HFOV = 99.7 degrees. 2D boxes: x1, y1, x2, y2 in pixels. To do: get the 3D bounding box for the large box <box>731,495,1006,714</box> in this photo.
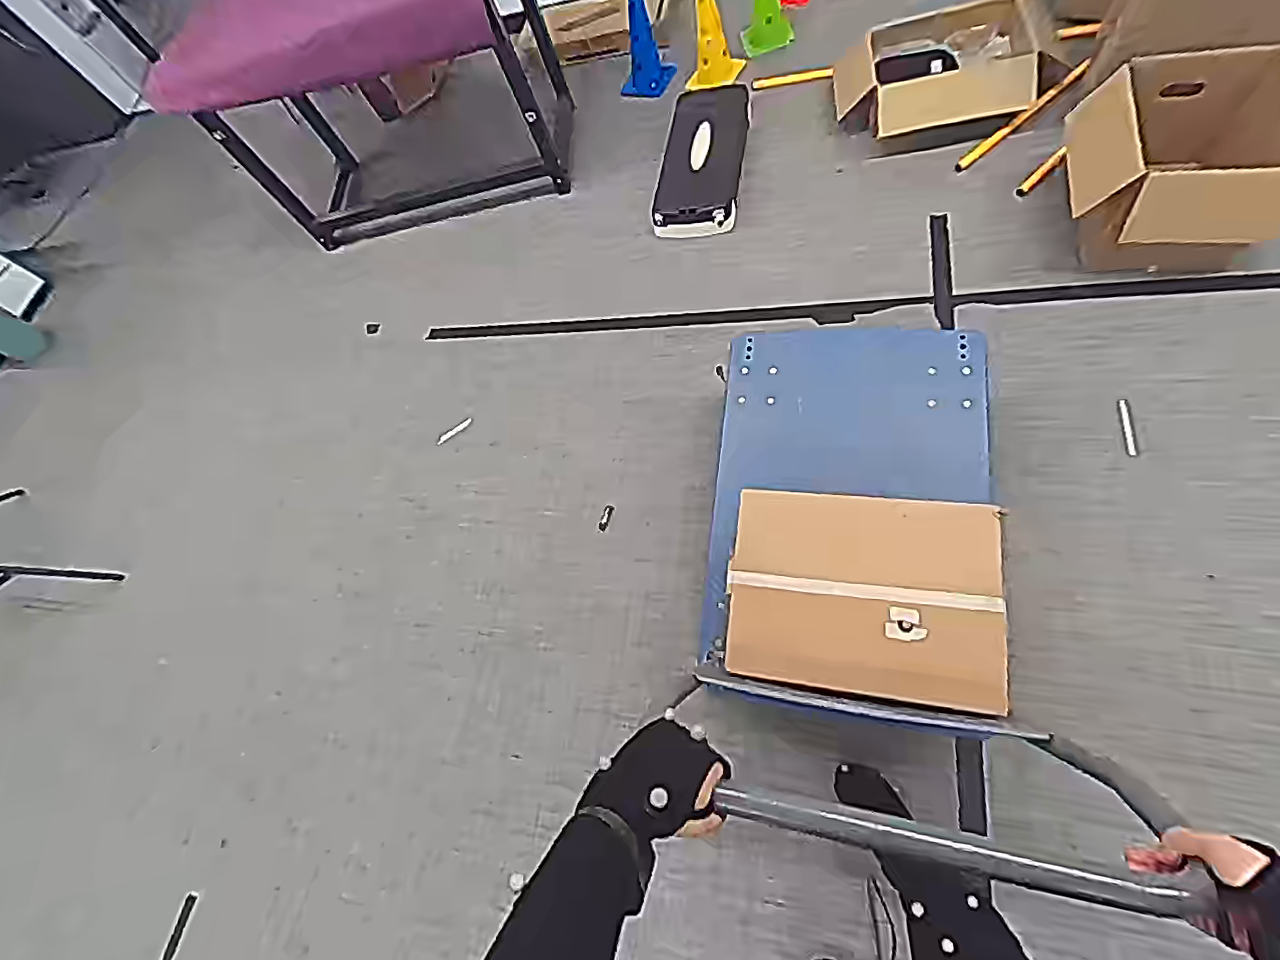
[{"bbox_3d":[0.390,0.227,1.007,0.408,0.320,0.320,4,75,16],"label":"large box"}]
